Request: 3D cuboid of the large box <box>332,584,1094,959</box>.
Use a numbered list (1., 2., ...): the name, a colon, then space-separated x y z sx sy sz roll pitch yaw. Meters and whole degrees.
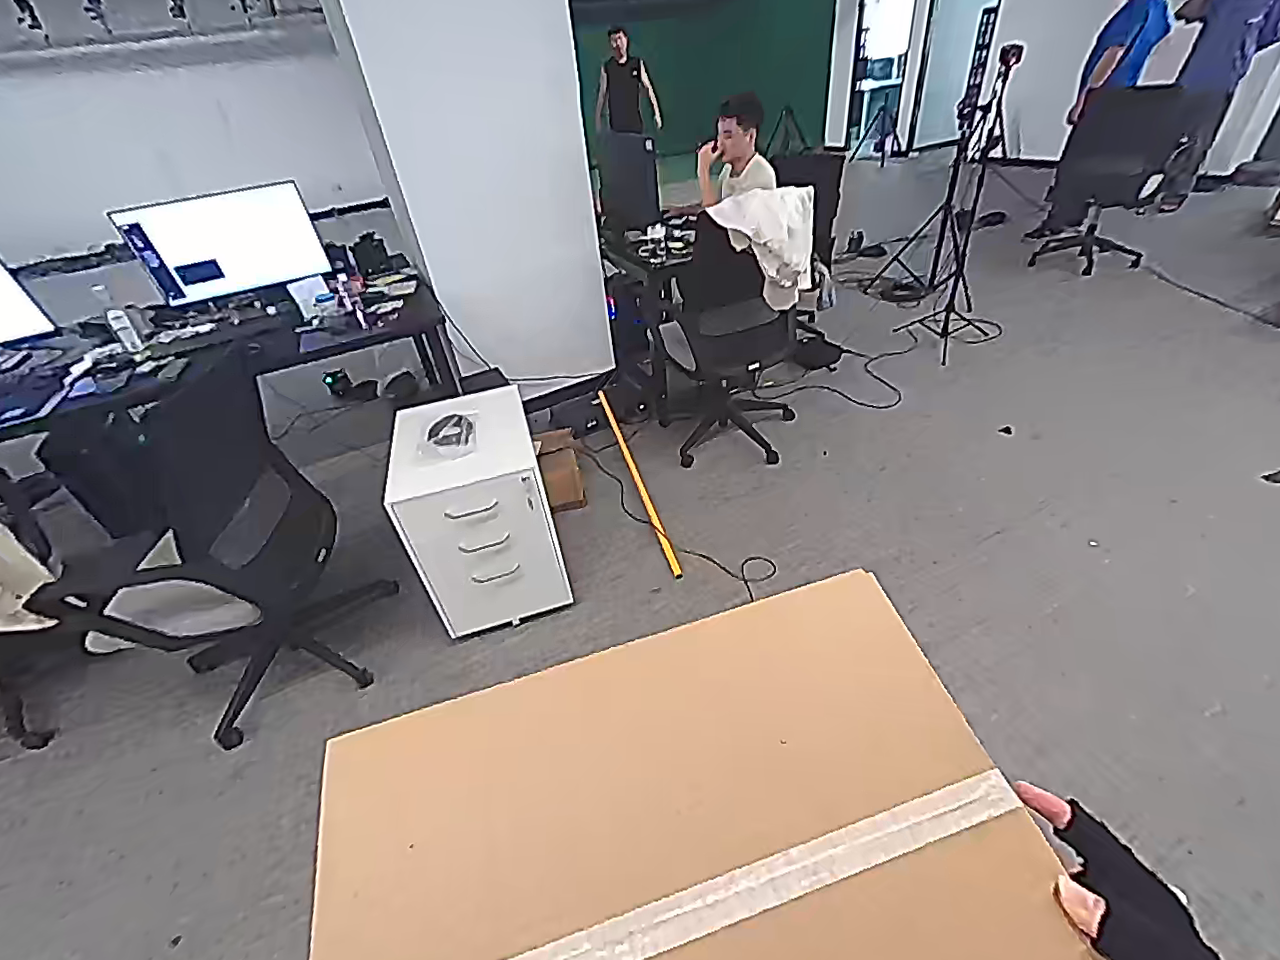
1. large box: 0.039 0.337 0.423 0.408 0.320 0.320 -16 51 -6
